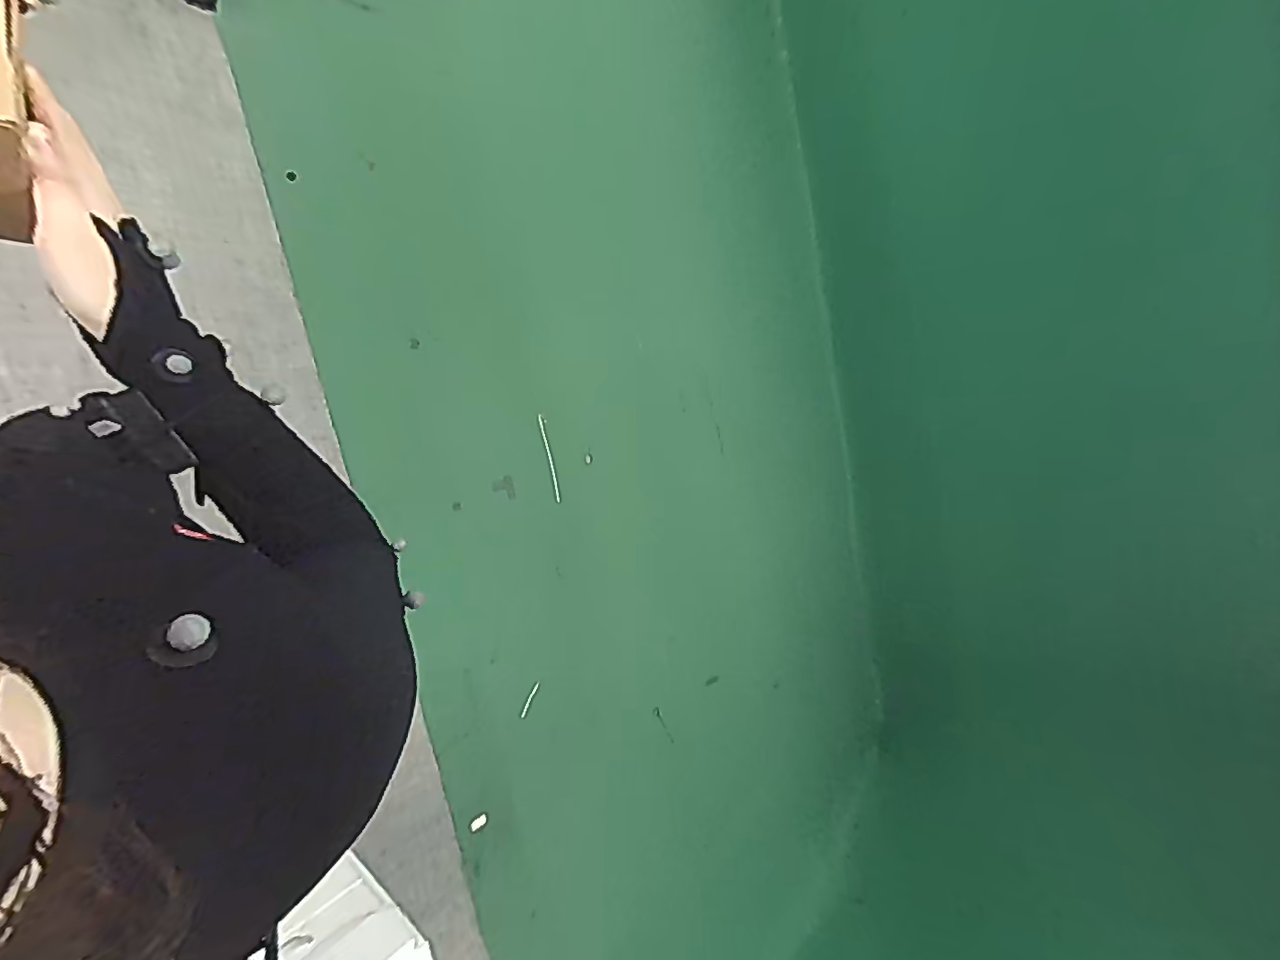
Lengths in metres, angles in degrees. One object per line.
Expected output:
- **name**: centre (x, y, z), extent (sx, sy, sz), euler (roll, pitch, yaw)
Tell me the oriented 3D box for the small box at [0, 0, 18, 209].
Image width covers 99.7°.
- **small box**: centre (-0.411, -0.238, 0.237), extent (0.179, 0.176, 0.168), euler (-5, 92, -46)
